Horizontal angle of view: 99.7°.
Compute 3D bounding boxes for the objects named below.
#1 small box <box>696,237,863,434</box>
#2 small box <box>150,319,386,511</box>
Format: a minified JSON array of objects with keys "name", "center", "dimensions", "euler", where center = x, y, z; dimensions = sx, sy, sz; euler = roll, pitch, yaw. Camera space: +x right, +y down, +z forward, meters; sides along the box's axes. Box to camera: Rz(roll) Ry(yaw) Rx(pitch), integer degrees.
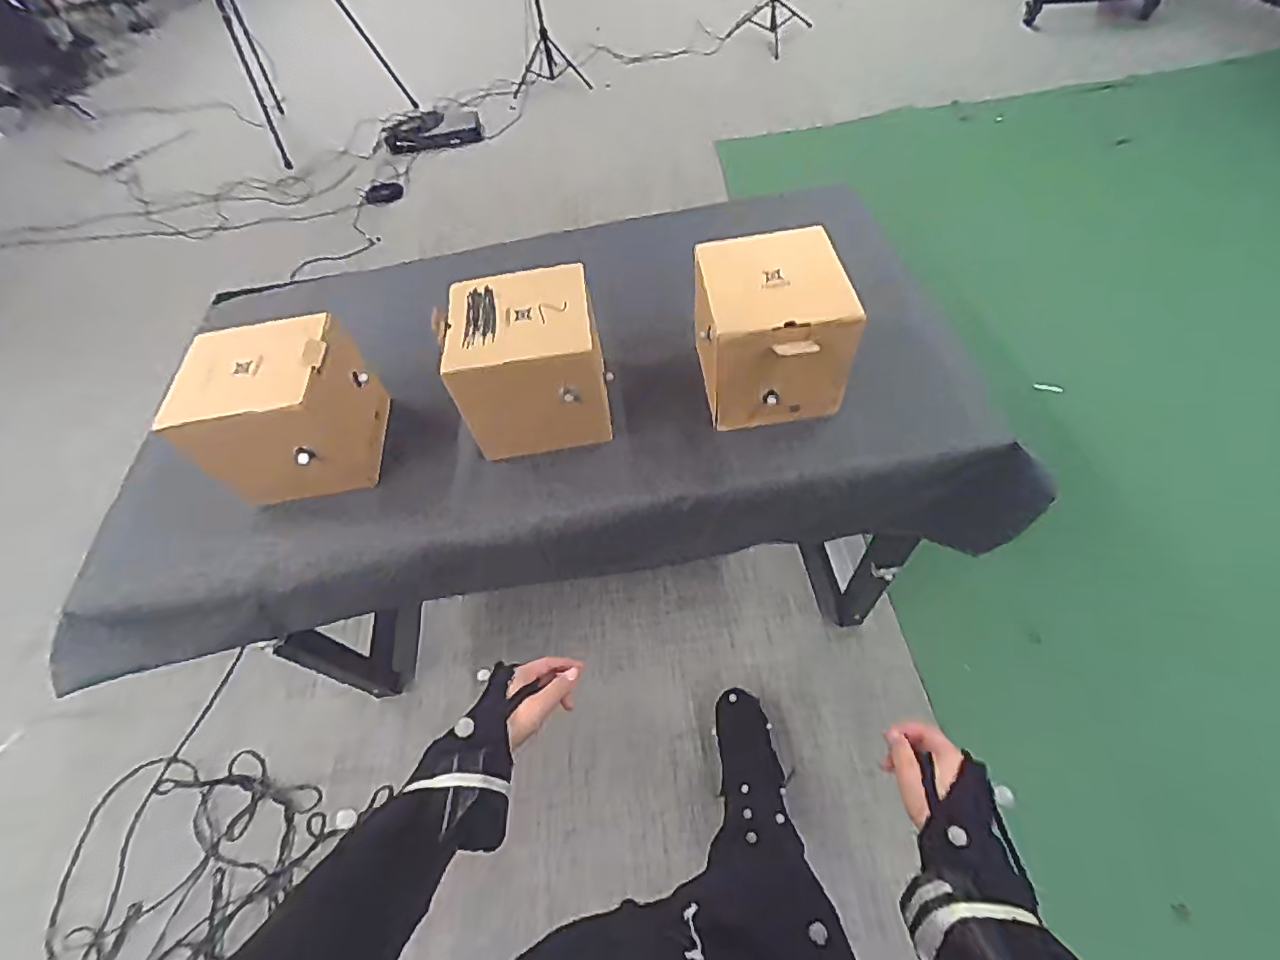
[{"name":"small box","center":[0.165,-0.185,0.709],"dimensions":[0.168,0.176,0.179],"euler":[-8,56,1]},{"name":"small box","center":[-0.460,-0.079,0.708],"dimensions":[0.179,0.176,0.168],"euler":[-11,54,0]}]
